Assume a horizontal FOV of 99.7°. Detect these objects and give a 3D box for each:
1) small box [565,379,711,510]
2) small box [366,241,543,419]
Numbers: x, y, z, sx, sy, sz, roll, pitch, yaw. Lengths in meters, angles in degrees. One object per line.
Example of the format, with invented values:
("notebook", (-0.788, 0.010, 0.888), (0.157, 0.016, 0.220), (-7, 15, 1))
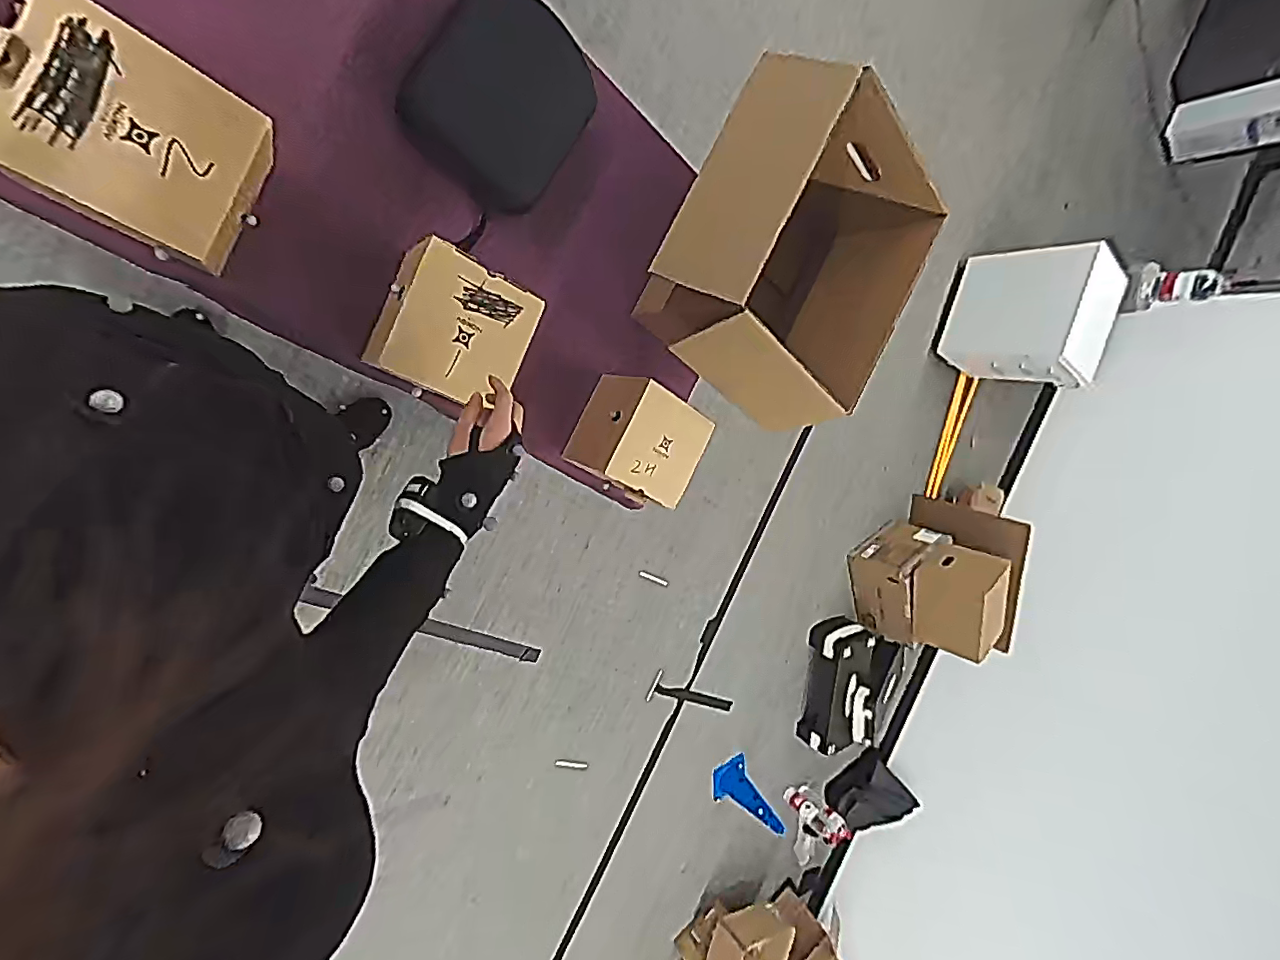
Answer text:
("small box", (-0.010, -0.071, 0.978), (0.168, 0.176, 0.179), (29, 85, -34))
("small box", (-0.271, -0.207, 0.770), (0.168, 0.176, 0.179), (23, 90, -35))
